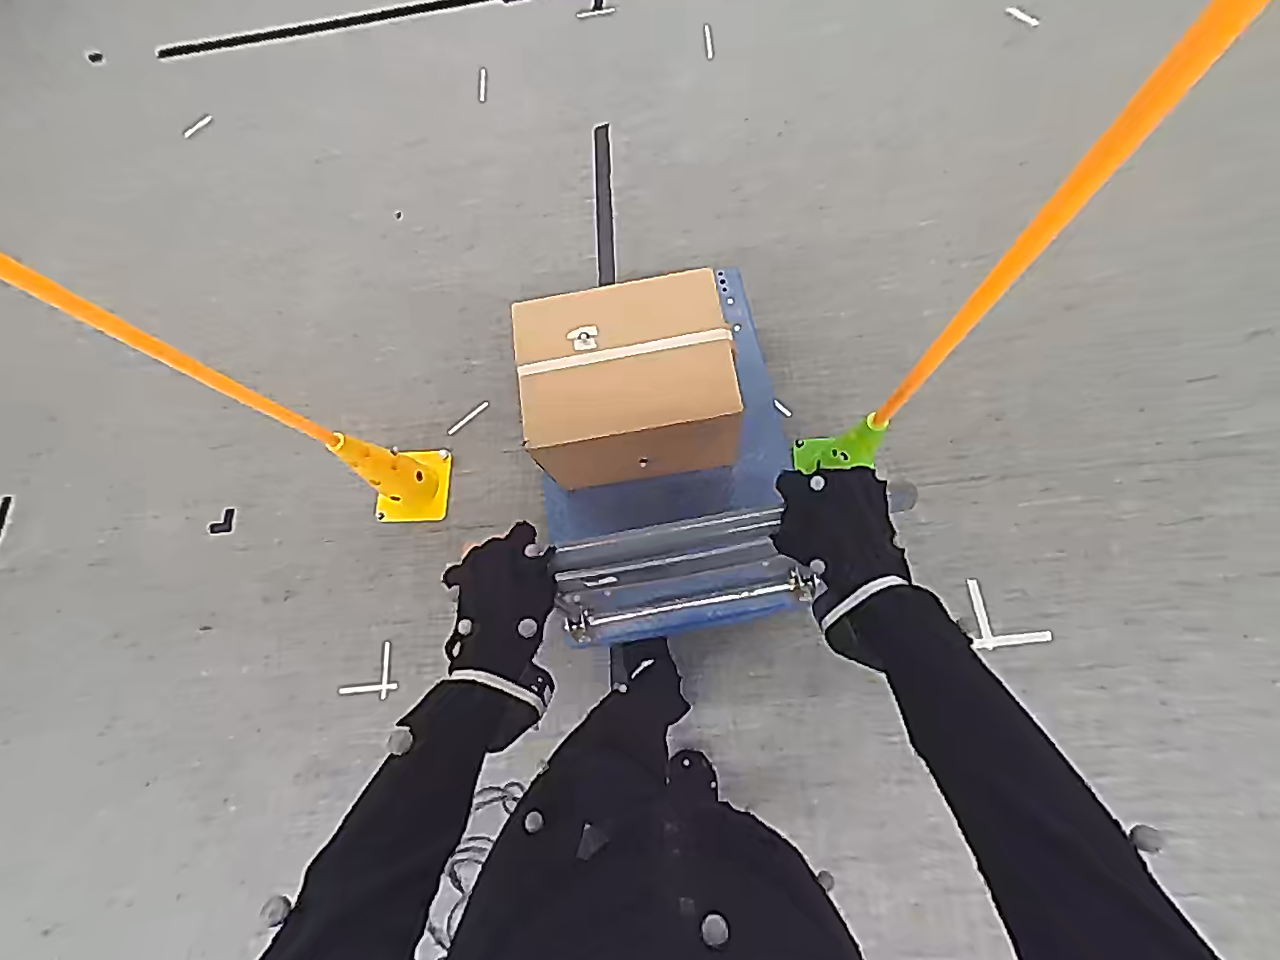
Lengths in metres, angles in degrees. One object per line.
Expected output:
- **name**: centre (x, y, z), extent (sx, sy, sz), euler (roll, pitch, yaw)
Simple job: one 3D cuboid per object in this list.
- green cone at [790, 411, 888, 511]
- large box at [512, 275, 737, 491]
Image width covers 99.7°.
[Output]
- **green cone**: centre (0.480, -0.064, 1.237), extent (0.202, 0.368, 0.200), euler (-1, 74, 5)
- **large box**: centre (-0.023, -0.187, 1.177), extent (0.408, 0.320, 0.320), euler (-10, 73, 4)
